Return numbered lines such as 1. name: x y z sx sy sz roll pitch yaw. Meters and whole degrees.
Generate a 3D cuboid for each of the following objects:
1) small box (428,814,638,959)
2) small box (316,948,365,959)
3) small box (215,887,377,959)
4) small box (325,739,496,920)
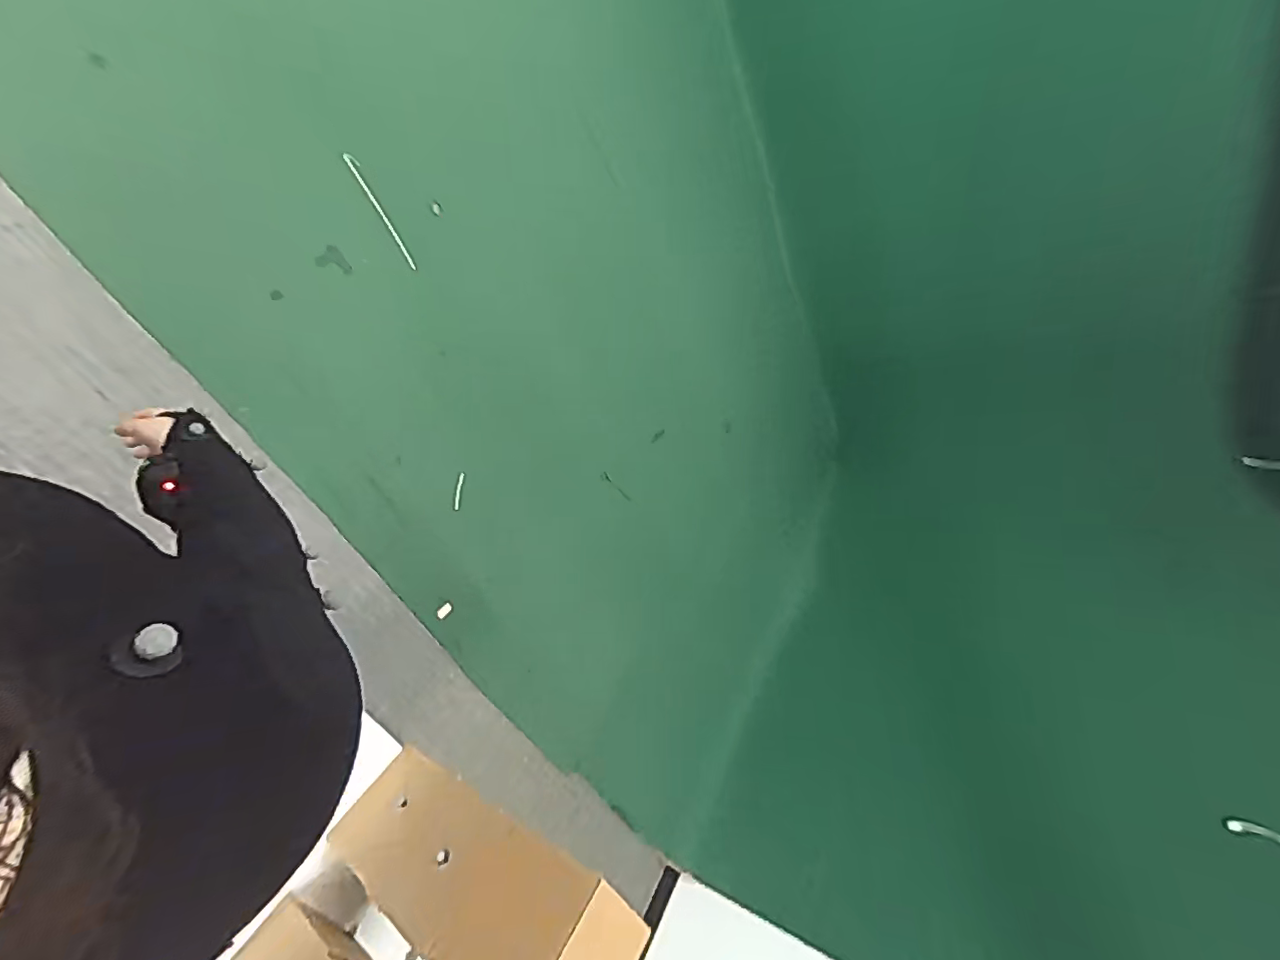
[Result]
1. small box: -0.138 0.587 0.712 0.179 0.176 0.168 -49 127 -36
2. small box: -0.378 0.743 0.680 0.168 0.176 0.179 -52 129 -36
3. small box: -0.510 0.741 0.778 0.179 0.176 0.168 -50 127 -38
4. small box: -0.389 0.579 0.921 0.179 0.176 0.168 -49 126 -37
